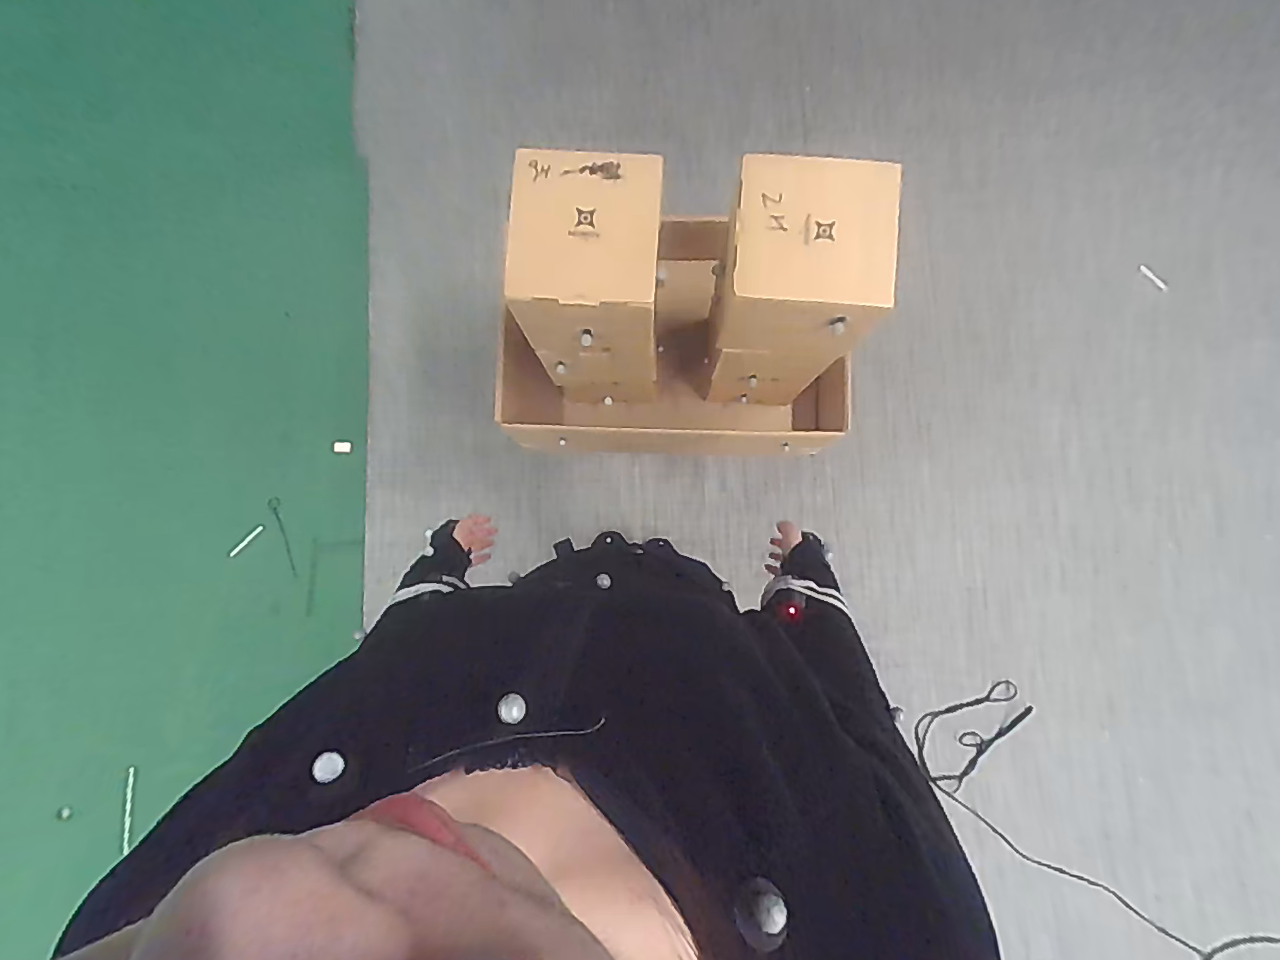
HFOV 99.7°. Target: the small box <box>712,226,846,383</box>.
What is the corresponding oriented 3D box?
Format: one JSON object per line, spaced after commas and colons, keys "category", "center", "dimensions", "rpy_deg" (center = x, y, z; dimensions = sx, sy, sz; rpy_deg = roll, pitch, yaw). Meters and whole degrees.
{"category": "small box", "center": [0.202, -0.259, 0.827], "dimensions": [0.168, 0.176, 0.179], "rpy_deg": [4, 86, 3]}
